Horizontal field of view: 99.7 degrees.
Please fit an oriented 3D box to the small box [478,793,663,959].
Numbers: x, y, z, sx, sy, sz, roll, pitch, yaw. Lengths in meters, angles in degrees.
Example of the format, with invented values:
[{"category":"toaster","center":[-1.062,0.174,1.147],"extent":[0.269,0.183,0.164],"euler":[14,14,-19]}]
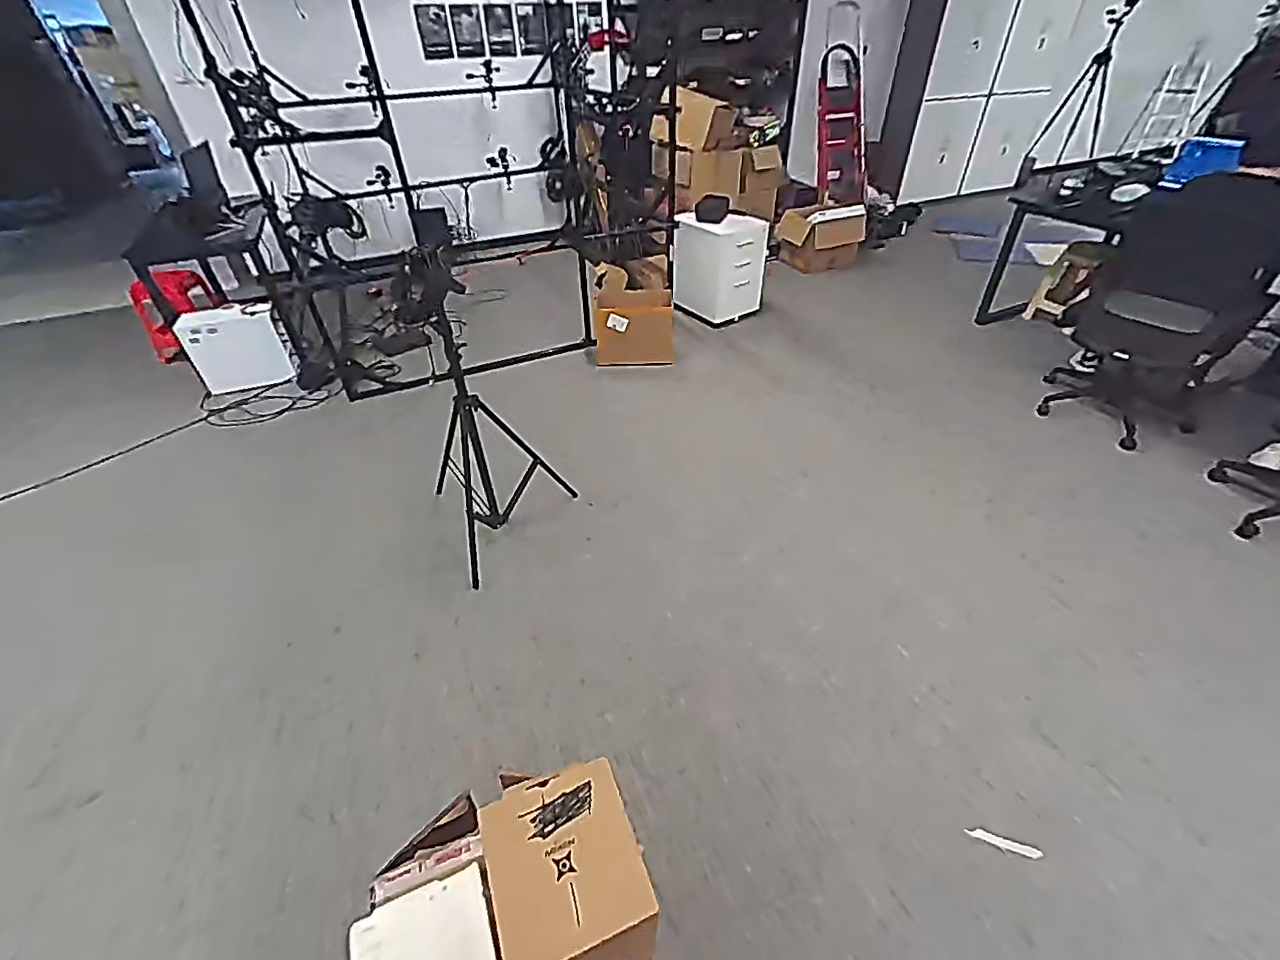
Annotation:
[{"category":"small box","center":[-0.085,0.521,0.643],"extent":[0.168,0.176,0.179],"euler":[-15,43,-18]}]
